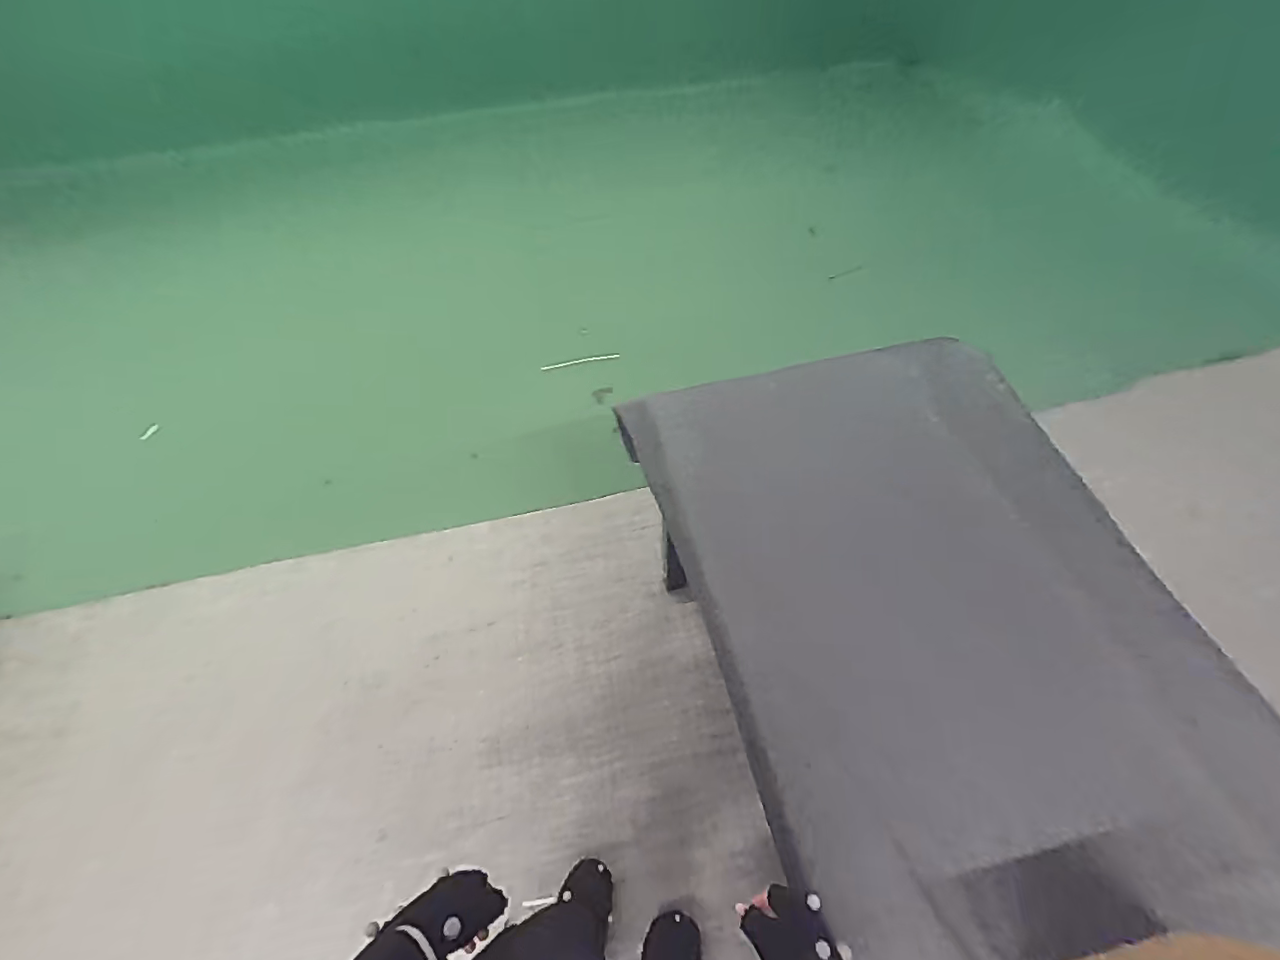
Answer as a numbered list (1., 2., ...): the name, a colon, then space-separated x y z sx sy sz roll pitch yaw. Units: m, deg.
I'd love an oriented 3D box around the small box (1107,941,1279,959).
1. small box: 0.470 0.492 0.423 0.179 0.176 0.168 -11 55 -5
